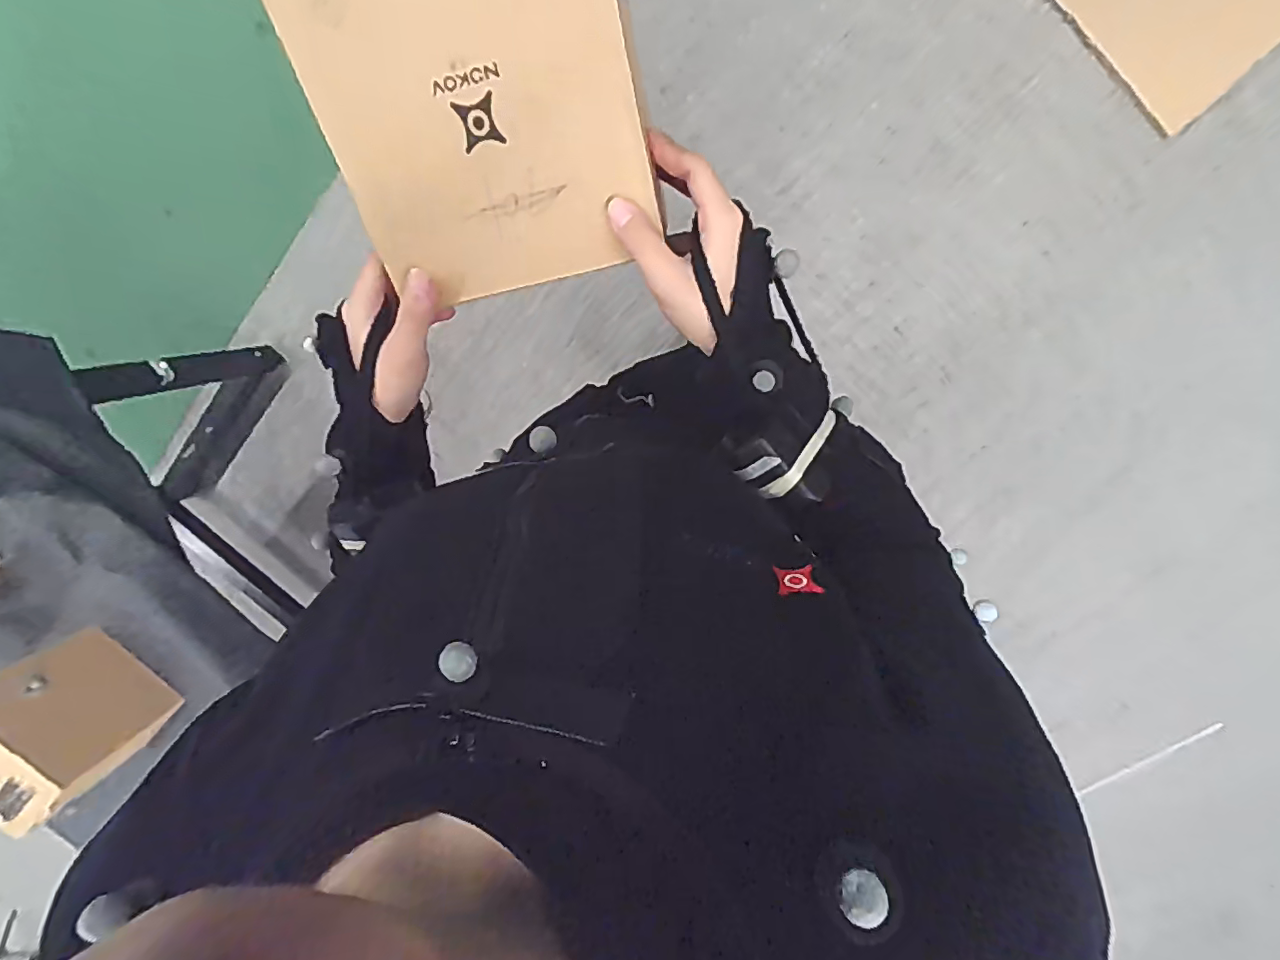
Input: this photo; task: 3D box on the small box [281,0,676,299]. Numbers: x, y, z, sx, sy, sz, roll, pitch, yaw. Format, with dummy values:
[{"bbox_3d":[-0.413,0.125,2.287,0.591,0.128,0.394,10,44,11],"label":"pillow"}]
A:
[{"bbox_3d":[-0.074,-0.235,0.338,0.168,0.176,0.179,-9,123,9],"label":"small box"}]
